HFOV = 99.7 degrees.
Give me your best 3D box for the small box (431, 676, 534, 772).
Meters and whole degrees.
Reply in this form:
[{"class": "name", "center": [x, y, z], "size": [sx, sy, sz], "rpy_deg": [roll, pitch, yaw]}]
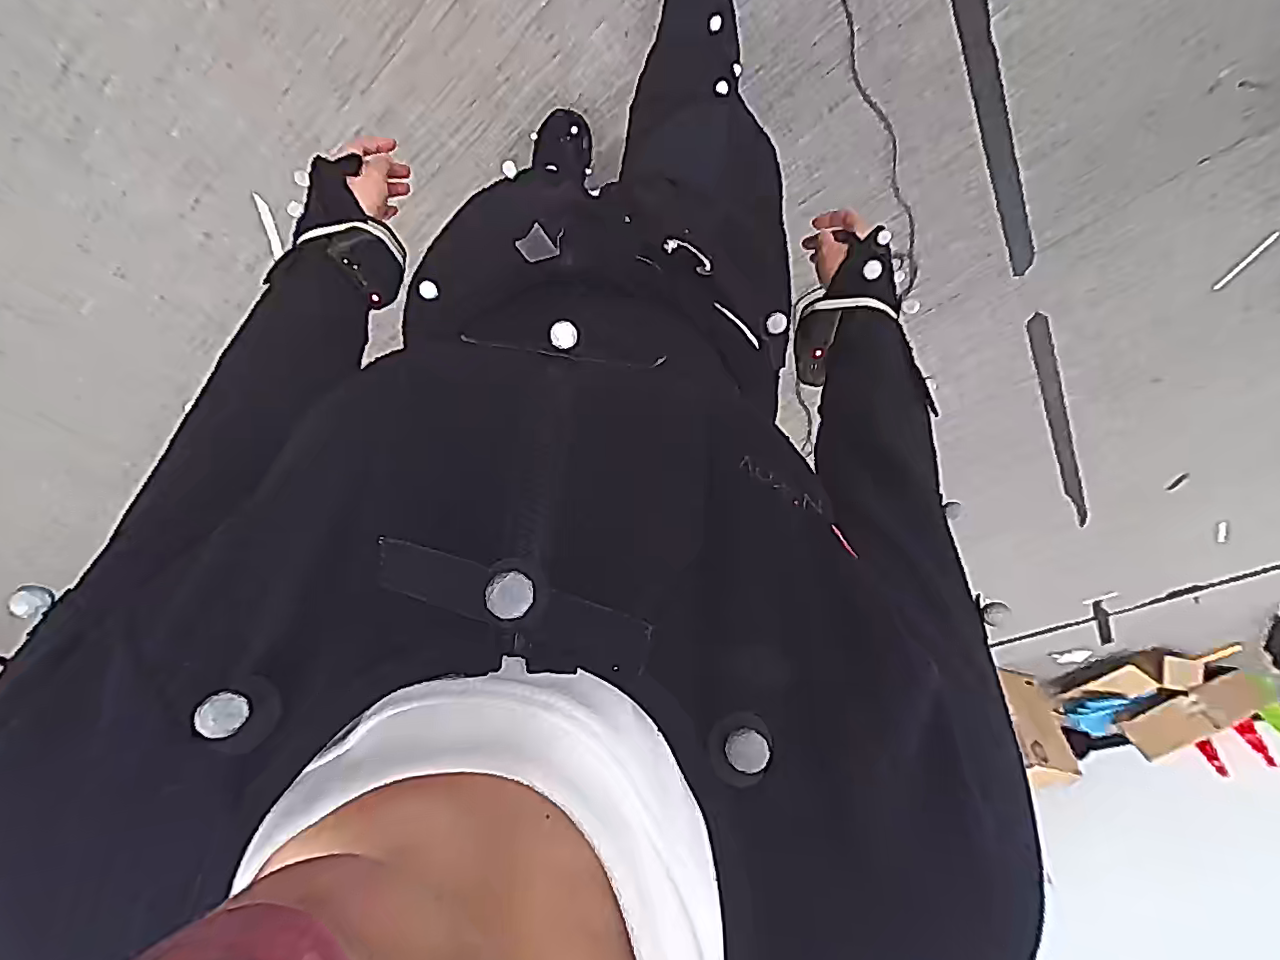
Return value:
[{"class": "small box", "center": [-0.388, 0.609, 1.358], "size": [0.168, 0.176, 0.179], "rpy_deg": [-26, 132, 23]}]
